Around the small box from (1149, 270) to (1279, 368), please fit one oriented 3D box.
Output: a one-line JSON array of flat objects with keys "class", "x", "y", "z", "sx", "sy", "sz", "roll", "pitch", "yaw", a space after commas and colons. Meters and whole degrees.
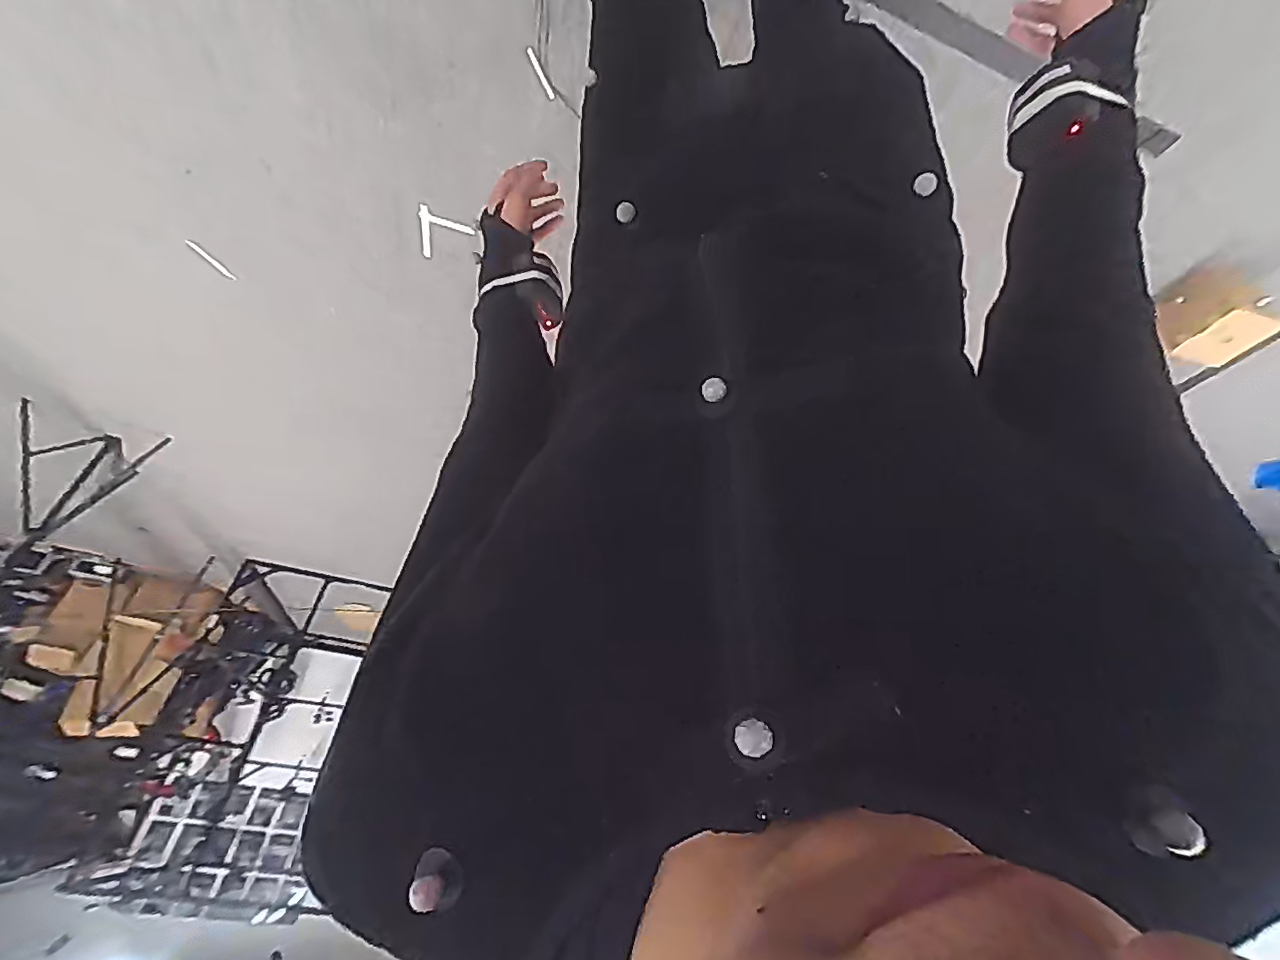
[{"class": "small box", "x": 1.548, "y": -0.436, "z": 1.457, "sx": 0.179, "sy": 0.176, "sz": 0.168, "roll": 14, "pitch": 147, "yaw": -8}]
